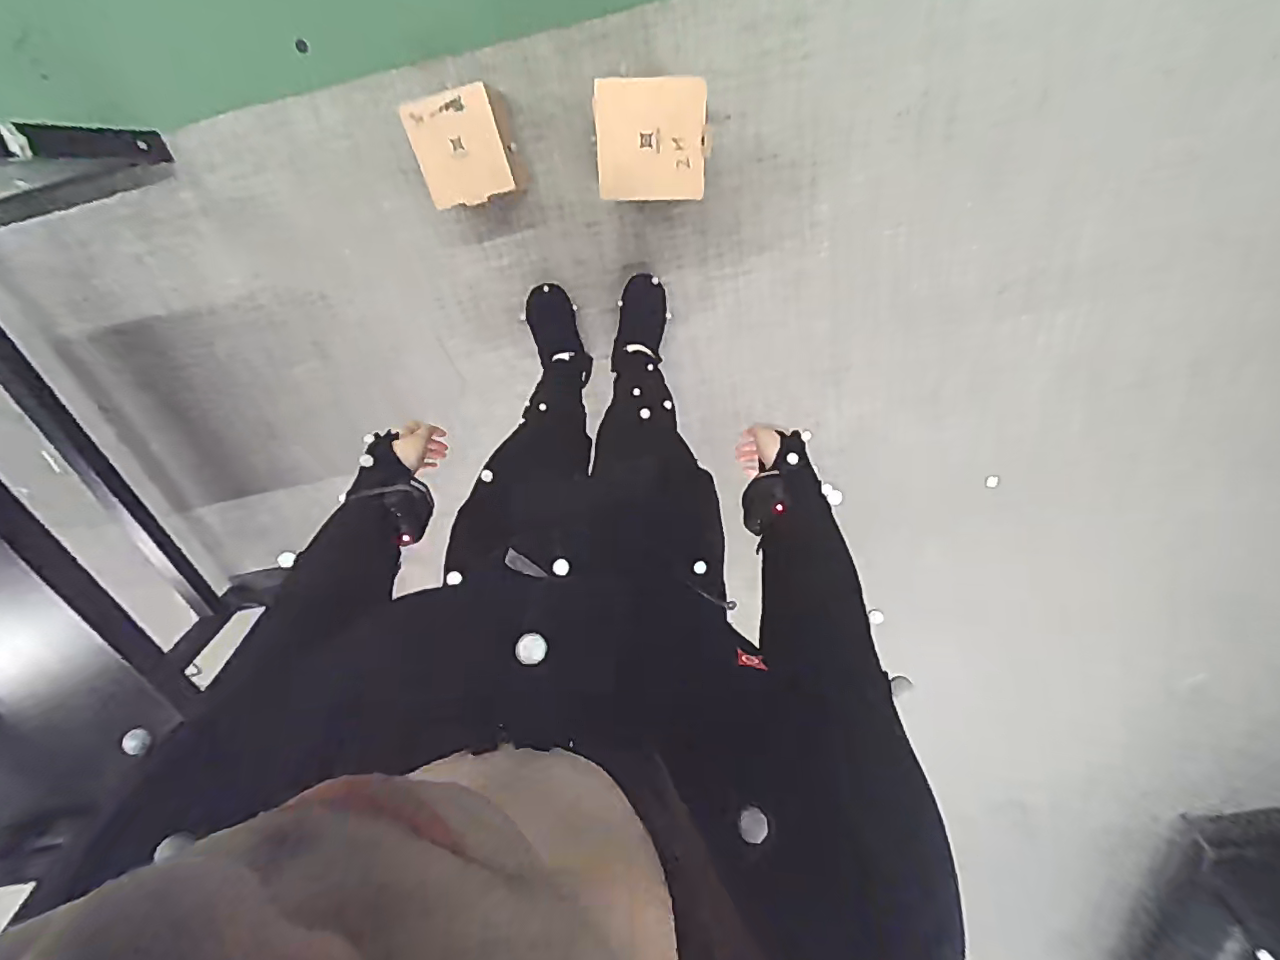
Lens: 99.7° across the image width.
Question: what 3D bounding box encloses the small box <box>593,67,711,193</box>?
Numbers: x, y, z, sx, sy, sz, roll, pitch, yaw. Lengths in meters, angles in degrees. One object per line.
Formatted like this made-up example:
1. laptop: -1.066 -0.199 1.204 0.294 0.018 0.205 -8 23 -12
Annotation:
1. small box: 0.019 -0.574 0.899 0.179 0.176 0.168 -1 122 0

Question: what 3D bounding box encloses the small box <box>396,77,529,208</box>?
1. small box: -0.329 -0.647 1.046 0.168 0.176 0.179 -12 120 7
